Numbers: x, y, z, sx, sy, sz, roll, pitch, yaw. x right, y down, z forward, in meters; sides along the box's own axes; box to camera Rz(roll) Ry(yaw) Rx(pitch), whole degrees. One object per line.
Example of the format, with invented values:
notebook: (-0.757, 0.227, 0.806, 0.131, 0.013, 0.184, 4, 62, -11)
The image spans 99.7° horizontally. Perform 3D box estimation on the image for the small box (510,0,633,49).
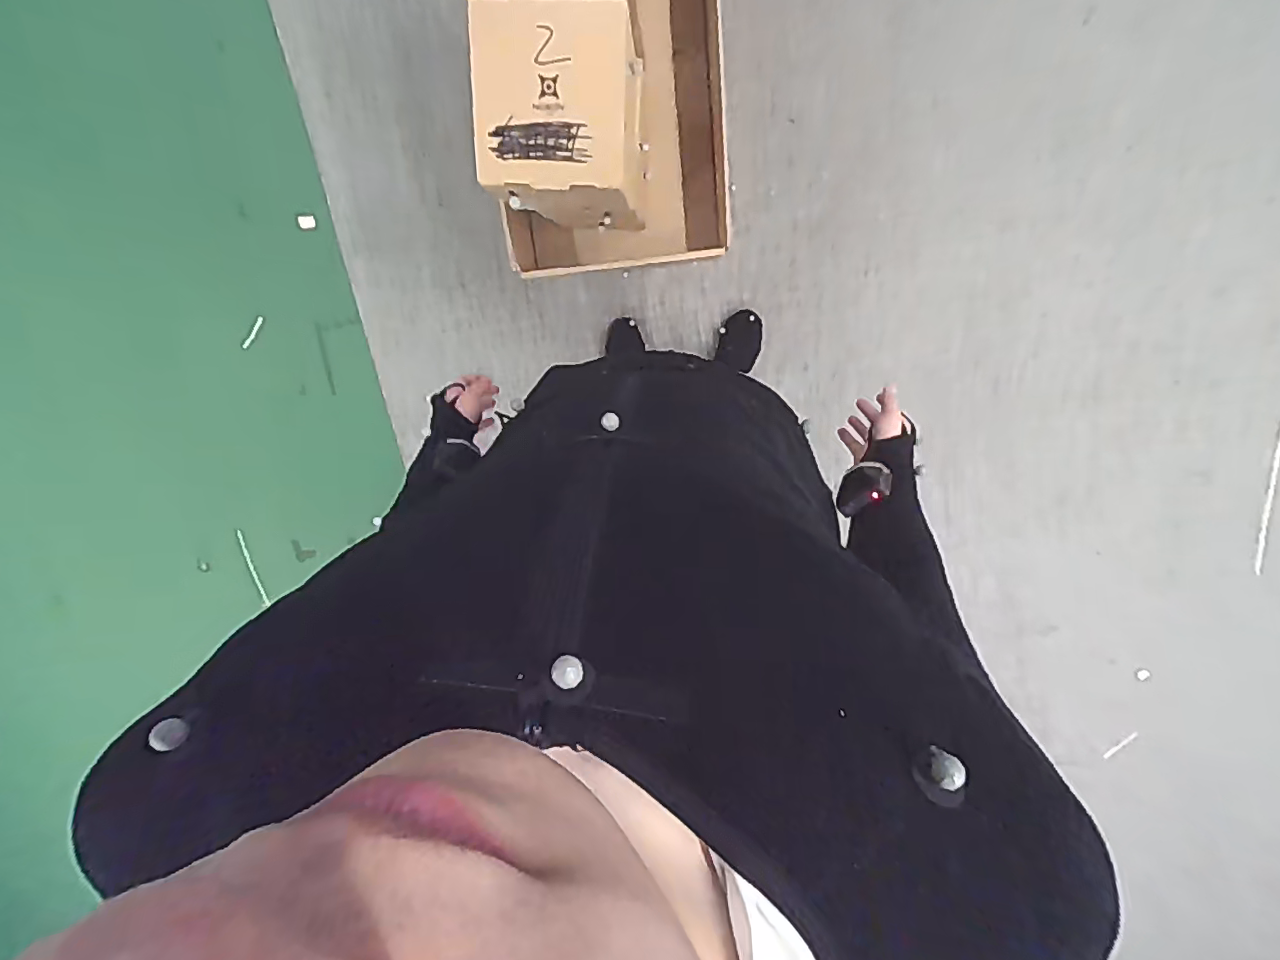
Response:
small box: (-0.103, -0.732, 0.733, 0.168, 0.176, 0.179, -6, 111, 5)

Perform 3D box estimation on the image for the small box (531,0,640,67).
small box: (-0.093, -0.790, 0.884, 0.168, 0.176, 0.179, -5, 110, 6)

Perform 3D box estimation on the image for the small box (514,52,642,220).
small box: (-0.086, -0.497, 0.808, 0.168, 0.176, 0.179, 5, 108, 1)
